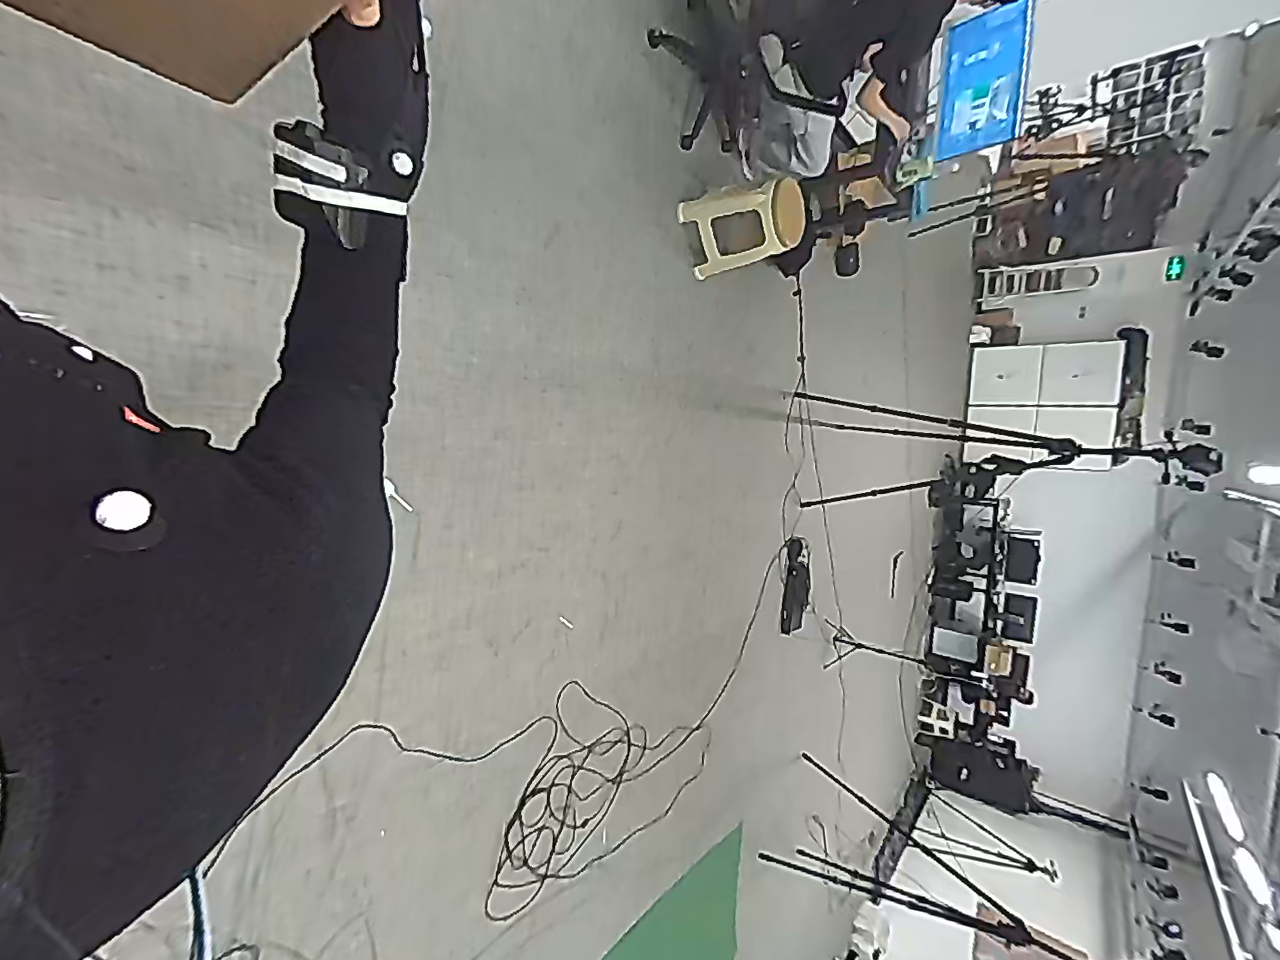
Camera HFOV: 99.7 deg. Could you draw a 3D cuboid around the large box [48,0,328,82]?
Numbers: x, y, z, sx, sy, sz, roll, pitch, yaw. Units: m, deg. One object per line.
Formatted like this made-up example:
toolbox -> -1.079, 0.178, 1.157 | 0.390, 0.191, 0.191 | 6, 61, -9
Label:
large box -> -0.271, -0.395, 0.116 | 0.408, 0.320, 0.320 | 1, 100, -52
